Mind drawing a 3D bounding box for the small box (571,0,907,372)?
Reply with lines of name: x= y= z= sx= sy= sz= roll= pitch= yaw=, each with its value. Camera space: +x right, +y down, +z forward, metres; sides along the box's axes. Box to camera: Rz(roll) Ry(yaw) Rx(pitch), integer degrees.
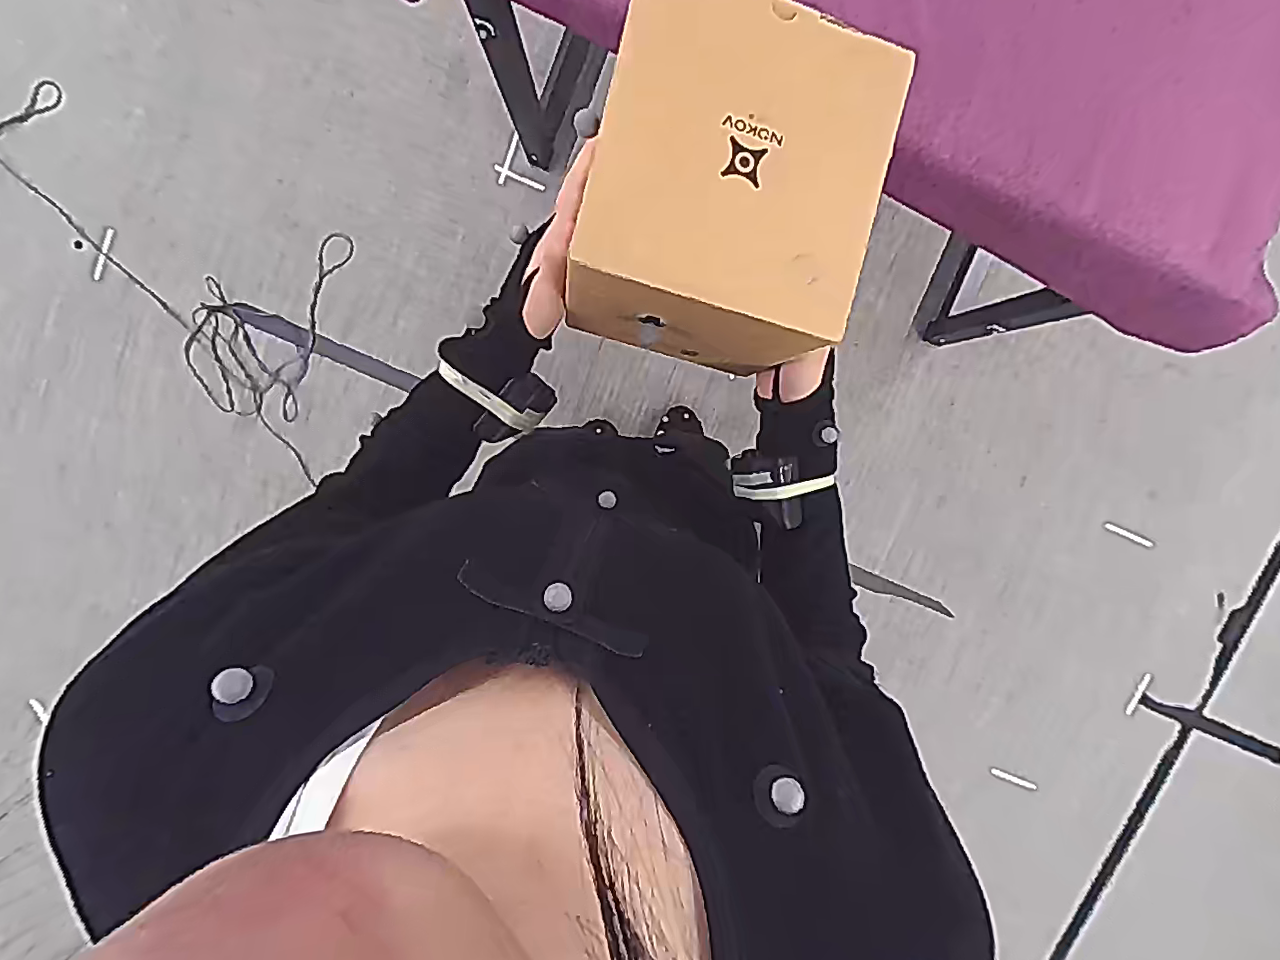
small box: x=0.050 y=-0.188 z=0.390 sx=0.168 sy=0.176 sz=0.179 roll=13 pitch=90 yaw=-9
